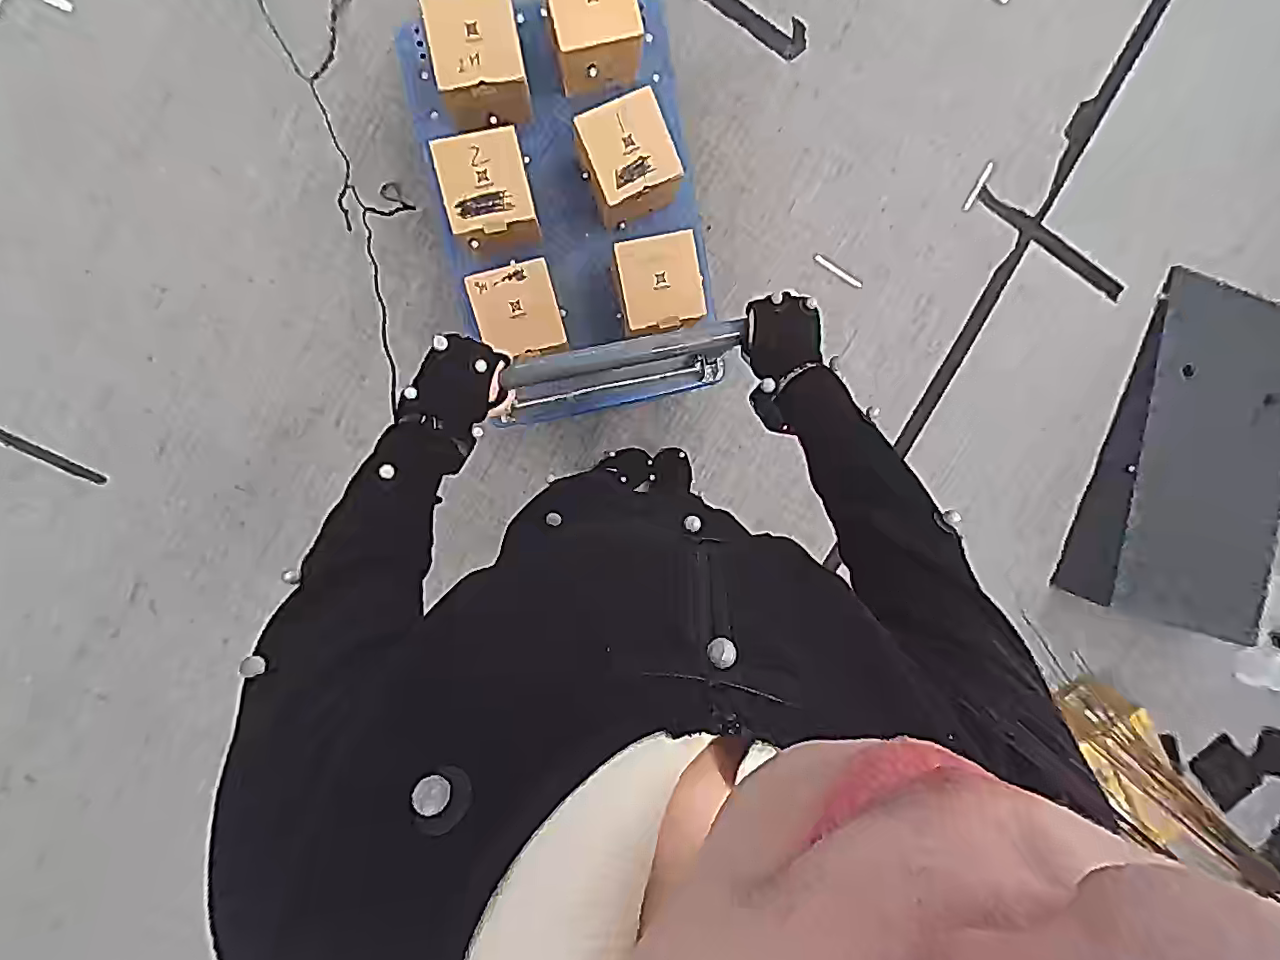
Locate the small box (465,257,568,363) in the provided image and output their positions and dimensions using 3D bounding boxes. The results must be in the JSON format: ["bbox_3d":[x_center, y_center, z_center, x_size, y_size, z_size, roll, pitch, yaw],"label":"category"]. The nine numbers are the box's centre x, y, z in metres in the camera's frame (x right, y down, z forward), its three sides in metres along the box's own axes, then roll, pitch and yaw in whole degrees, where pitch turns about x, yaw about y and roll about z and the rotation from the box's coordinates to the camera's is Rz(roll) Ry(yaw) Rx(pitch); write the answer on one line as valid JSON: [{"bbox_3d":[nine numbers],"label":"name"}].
[{"bbox_3d":[-0.254,-0.355,1.160,0.168,0.176,0.179,-16,100,-4],"label":"small box"}]

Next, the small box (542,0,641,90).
[{"bbox_3d":[-0.101,-0.928,1.092,0.168,0.176,0.179,-15,99,-3],"label":"small box"}]

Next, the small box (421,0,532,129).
[{"bbox_3d":[-0.319,-0.843,1.082,0.168,0.176,0.179,-11,100,-4],"label":"small box"}]

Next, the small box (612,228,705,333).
[{"bbox_3d":[0.036,-0.424,1.180,0.168,0.176,0.179,-12,99,-4],"label":"small box"}]

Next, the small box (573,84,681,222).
[{"bbox_3d":[-0.030,-0.669,1.136,0.168,0.176,0.179,-24,99,-2],"label":"small box"}]
